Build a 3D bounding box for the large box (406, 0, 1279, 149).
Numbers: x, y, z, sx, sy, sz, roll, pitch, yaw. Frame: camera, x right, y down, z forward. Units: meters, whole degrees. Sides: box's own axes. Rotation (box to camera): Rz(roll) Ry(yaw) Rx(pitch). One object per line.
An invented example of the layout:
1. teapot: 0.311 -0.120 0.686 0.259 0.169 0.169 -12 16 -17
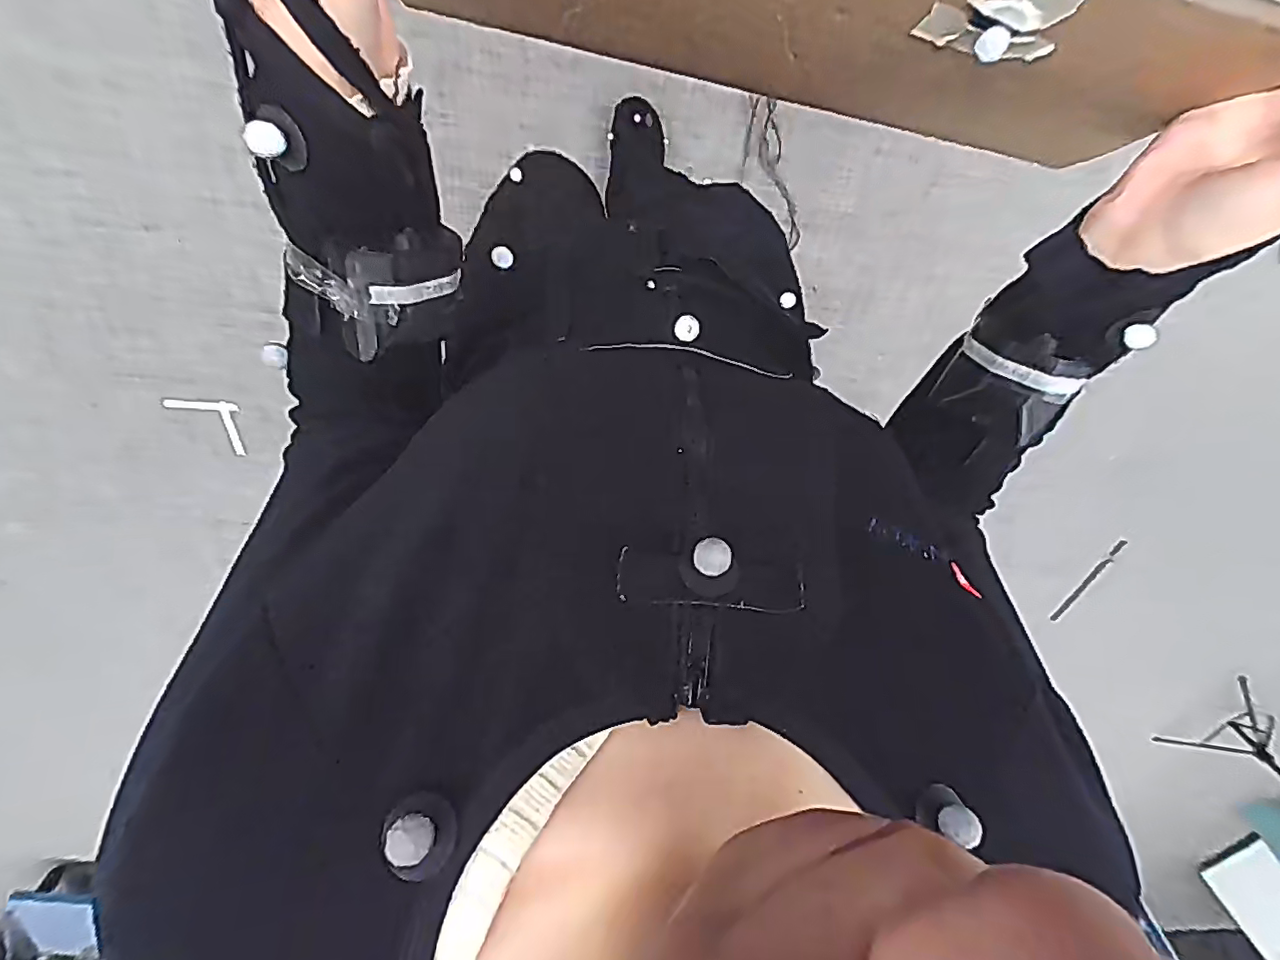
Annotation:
1. large box: 0.104 -0.345 0.142 0.408 0.320 0.320 6 103 -8
